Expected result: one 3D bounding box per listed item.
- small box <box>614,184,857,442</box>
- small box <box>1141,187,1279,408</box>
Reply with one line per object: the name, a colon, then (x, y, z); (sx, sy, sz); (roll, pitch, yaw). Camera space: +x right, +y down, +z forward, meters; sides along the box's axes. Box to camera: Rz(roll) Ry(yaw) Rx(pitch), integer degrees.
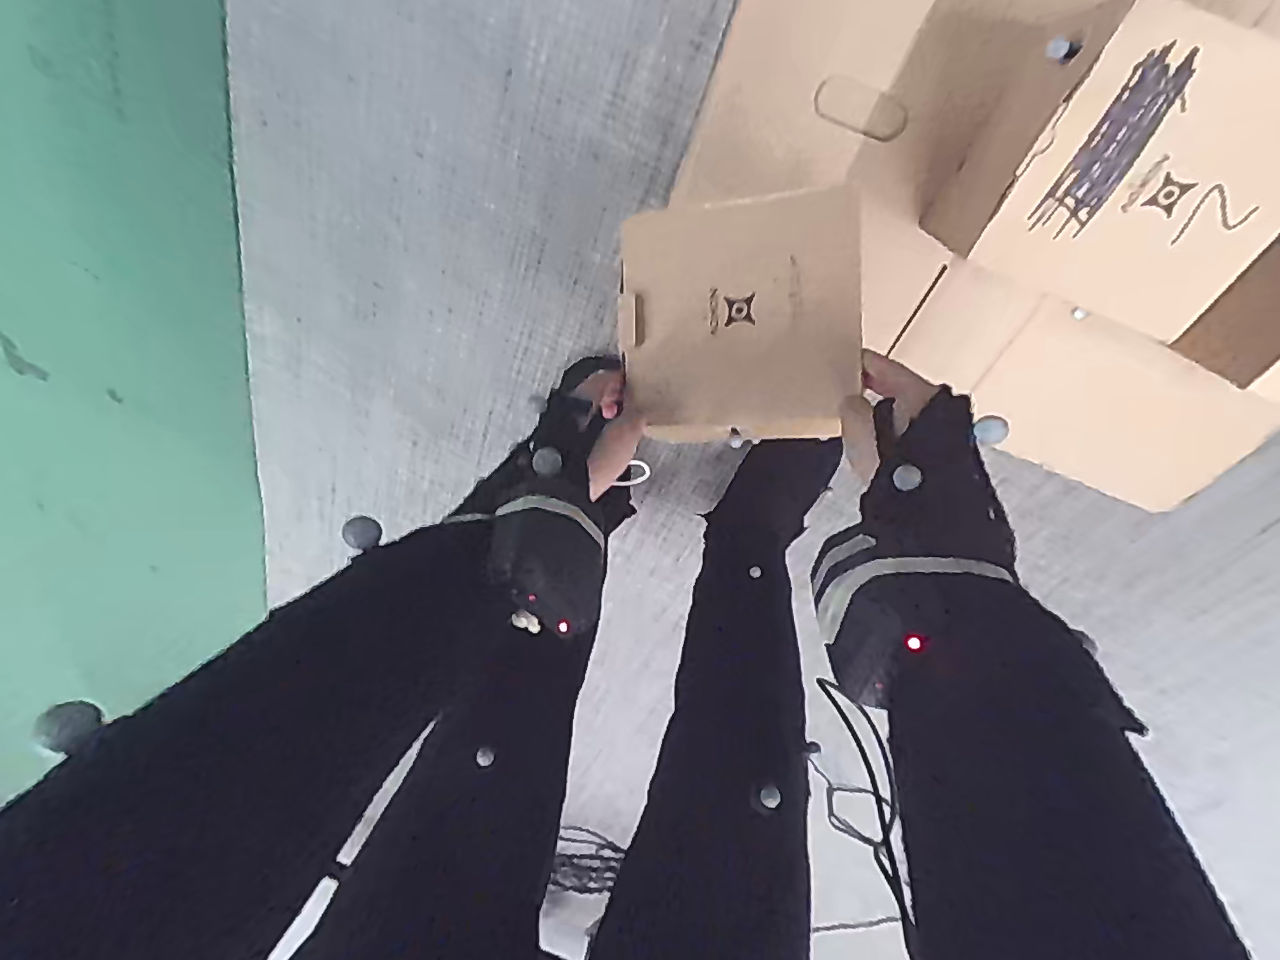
small box: (0.087, -0.122, 0.472); (0.179, 0.176, 0.168); (-2, 91, 16)
small box: (0.588, -0.138, 0.443); (0.179, 0.176, 0.168); (24, 125, -2)
